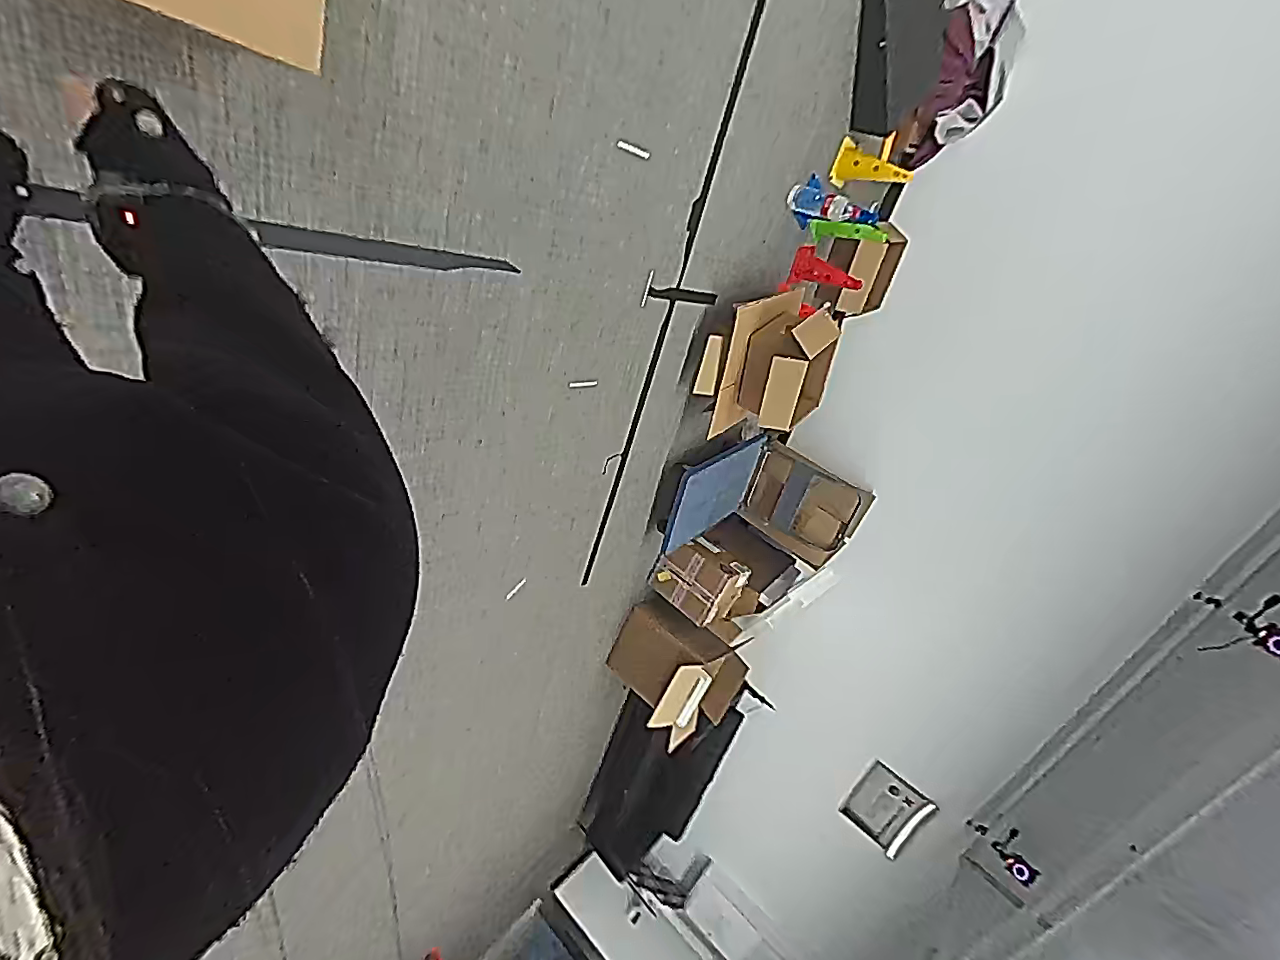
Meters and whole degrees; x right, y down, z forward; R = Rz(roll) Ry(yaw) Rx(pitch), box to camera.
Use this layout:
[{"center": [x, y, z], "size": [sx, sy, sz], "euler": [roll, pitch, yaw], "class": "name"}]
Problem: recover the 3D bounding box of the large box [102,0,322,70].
[{"center": [-0.670, -0.783, 0.668], "size": [0.408, 0.320, 0.320], "euler": [-15, 132, -52], "class": "large box"}]
